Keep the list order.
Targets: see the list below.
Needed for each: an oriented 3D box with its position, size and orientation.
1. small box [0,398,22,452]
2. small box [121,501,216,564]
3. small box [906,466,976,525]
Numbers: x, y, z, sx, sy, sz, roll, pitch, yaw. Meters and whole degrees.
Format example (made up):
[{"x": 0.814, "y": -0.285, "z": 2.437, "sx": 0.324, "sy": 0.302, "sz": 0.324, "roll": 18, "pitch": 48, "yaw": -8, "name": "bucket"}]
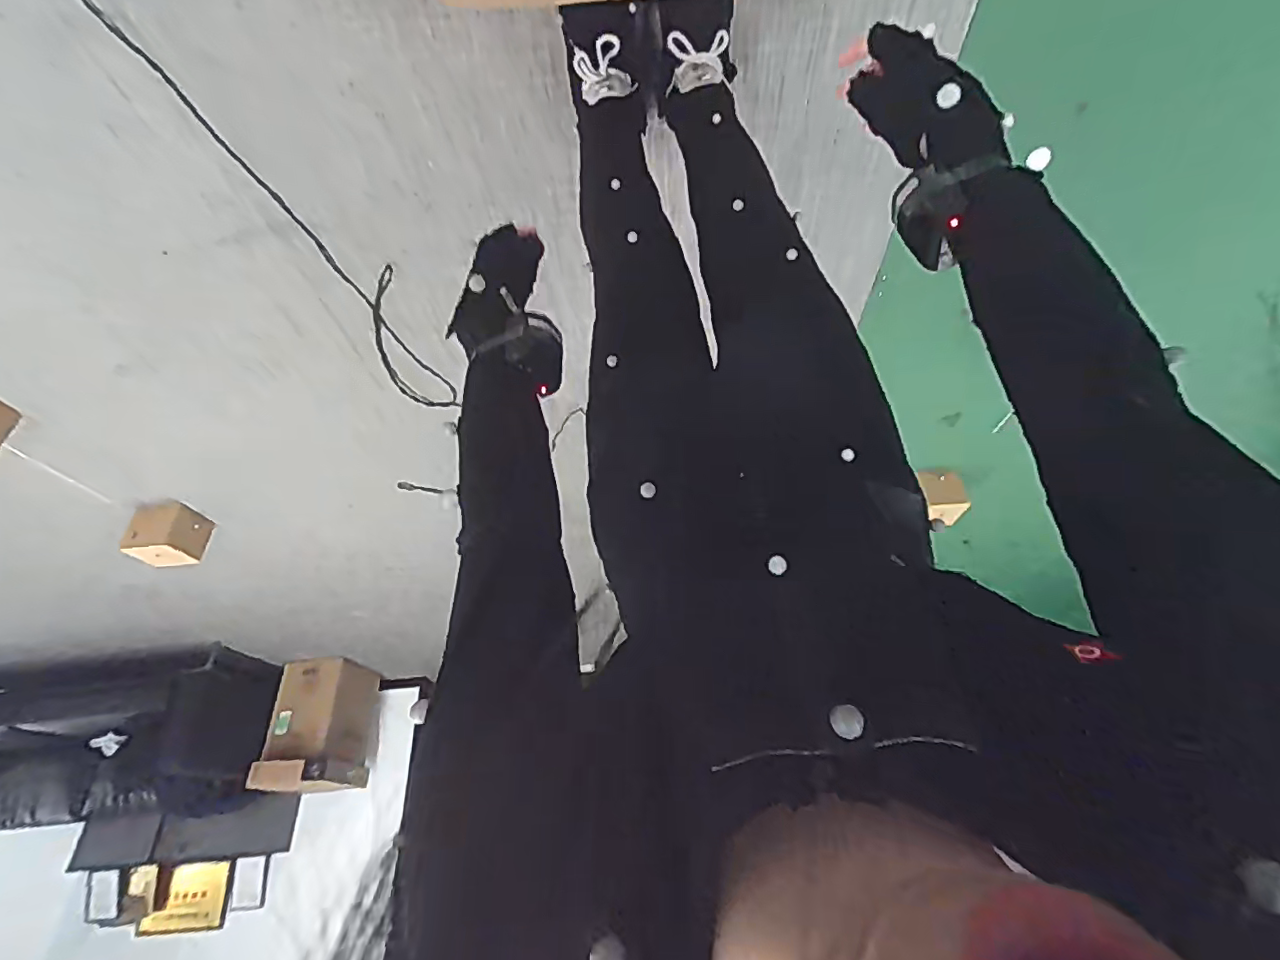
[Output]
[{"x": -1.798, "y": -0.156, "z": 1.399, "sx": 0.168, "sy": 0.176, "sz": 0.179, "roll": -7, "pitch": 149, "yaw": 2, "name": "small box"}, {"x": -1.719, "y": 0.192, "z": 1.984, "sx": 0.179, "sy": 0.176, "sz": 0.168, "roll": -6, "pitch": 149, "yaw": 3, "name": "small box"}, {"x": 1.183, "y": 0.061, "z": 2.144, "sx": 0.168, "sy": 0.176, "sz": 0.179, "roll": -5, "pitch": 148, "yaw": 0, "name": "small box"}]
